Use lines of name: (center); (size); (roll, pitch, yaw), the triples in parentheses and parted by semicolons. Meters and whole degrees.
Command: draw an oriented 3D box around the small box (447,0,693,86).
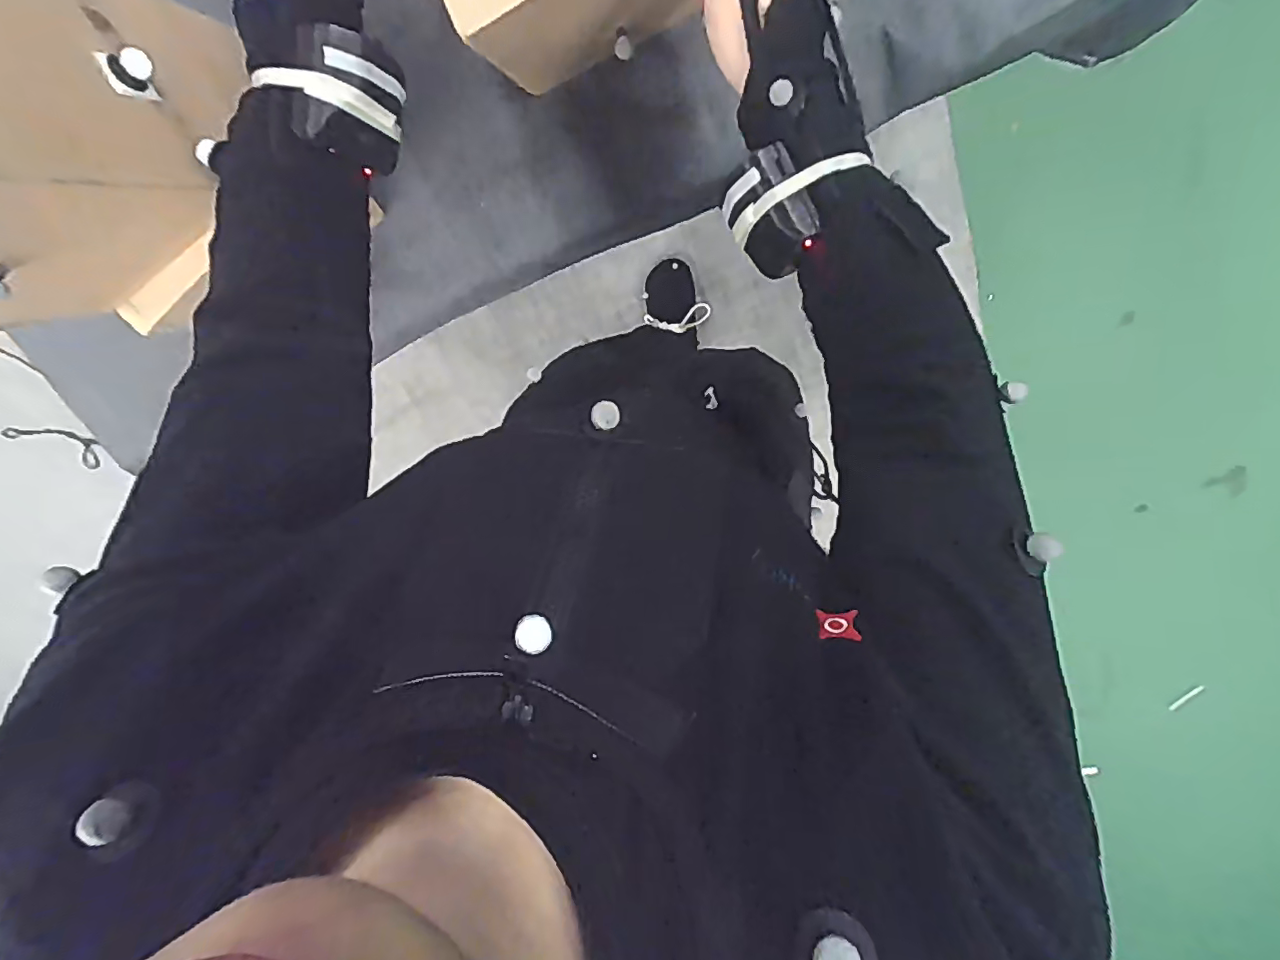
small box: (-0.051, -0.398, 0.350); (0.179, 0.176, 0.168); (-19, 113, 16)

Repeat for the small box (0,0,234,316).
small box: (-0.390, -0.199, 0.300); (0.179, 0.176, 0.168); (-25, 112, 16)

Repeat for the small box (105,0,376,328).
small box: (-0.371, -0.256, 0.451); (0.168, 0.176, 0.179); (-29, 110, 19)
